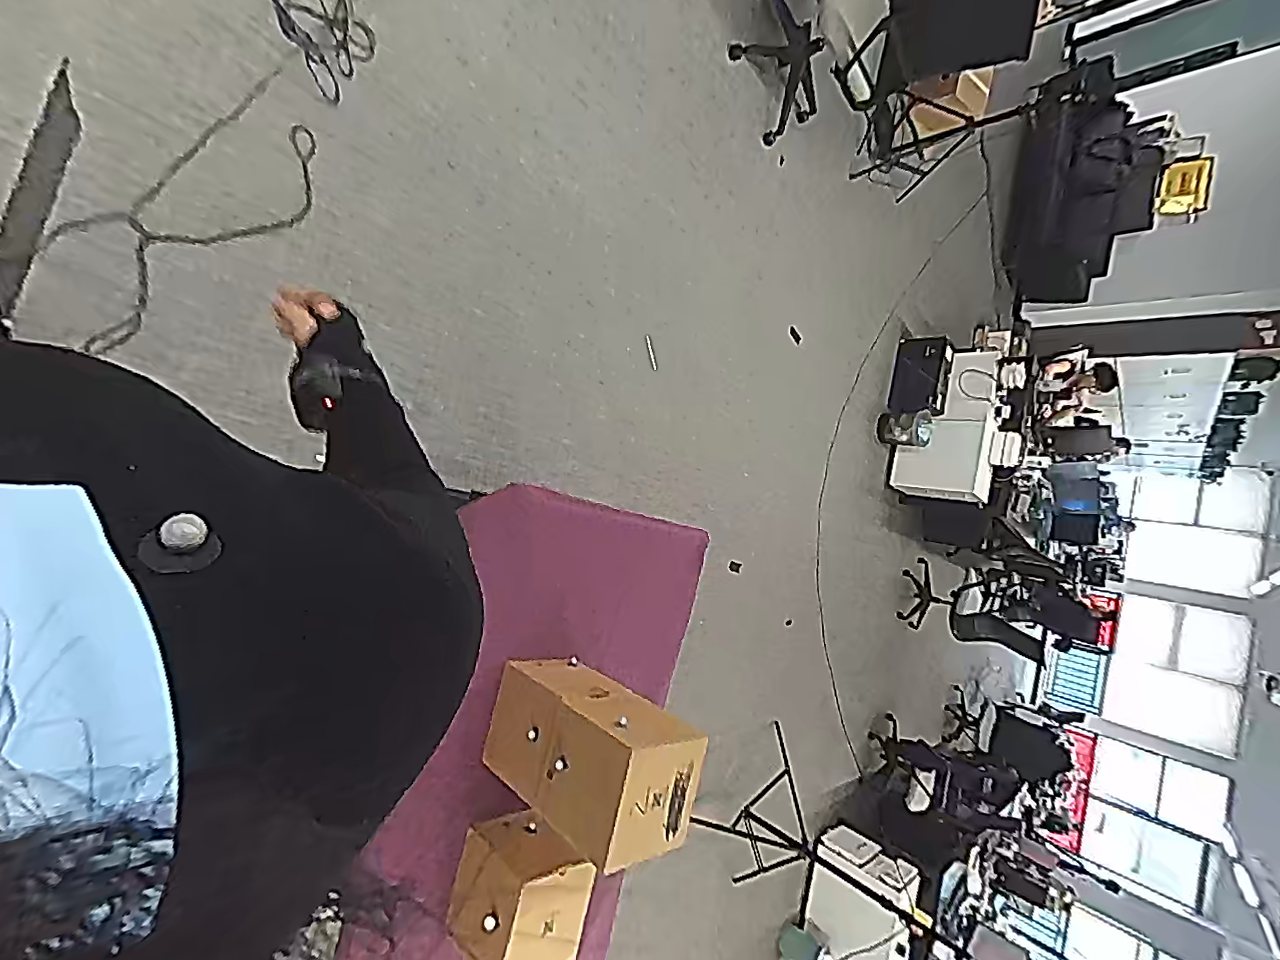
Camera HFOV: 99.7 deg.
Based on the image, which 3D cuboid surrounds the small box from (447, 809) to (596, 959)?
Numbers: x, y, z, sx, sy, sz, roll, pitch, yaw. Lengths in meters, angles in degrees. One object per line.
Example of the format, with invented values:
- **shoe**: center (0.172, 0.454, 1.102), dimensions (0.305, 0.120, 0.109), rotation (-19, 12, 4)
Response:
- **small box**: center (-0.207, 0.710, 0.929), dimensions (0.168, 0.176, 0.179), rotation (20, 81, -45)

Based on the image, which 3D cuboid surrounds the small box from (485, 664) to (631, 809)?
- **small box**: center (-0.146, 0.432, 0.947), dimensions (0.168, 0.176, 0.179), rotation (18, 84, -45)
